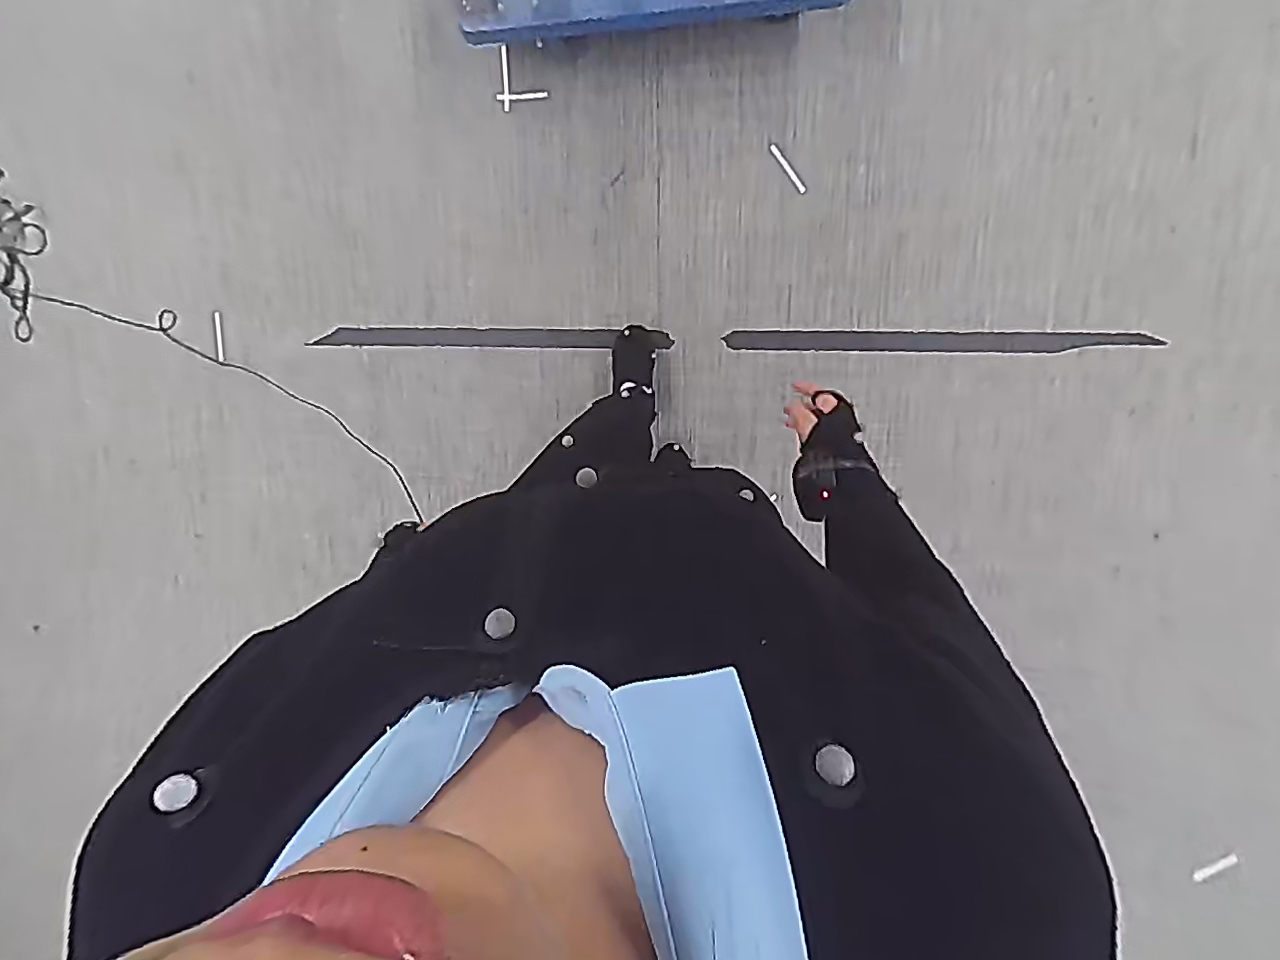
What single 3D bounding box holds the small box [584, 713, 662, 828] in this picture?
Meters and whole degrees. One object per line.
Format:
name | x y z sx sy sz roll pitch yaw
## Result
small box | -0.036 0.712 1.341 0.168 0.176 0.179 6 98 4
